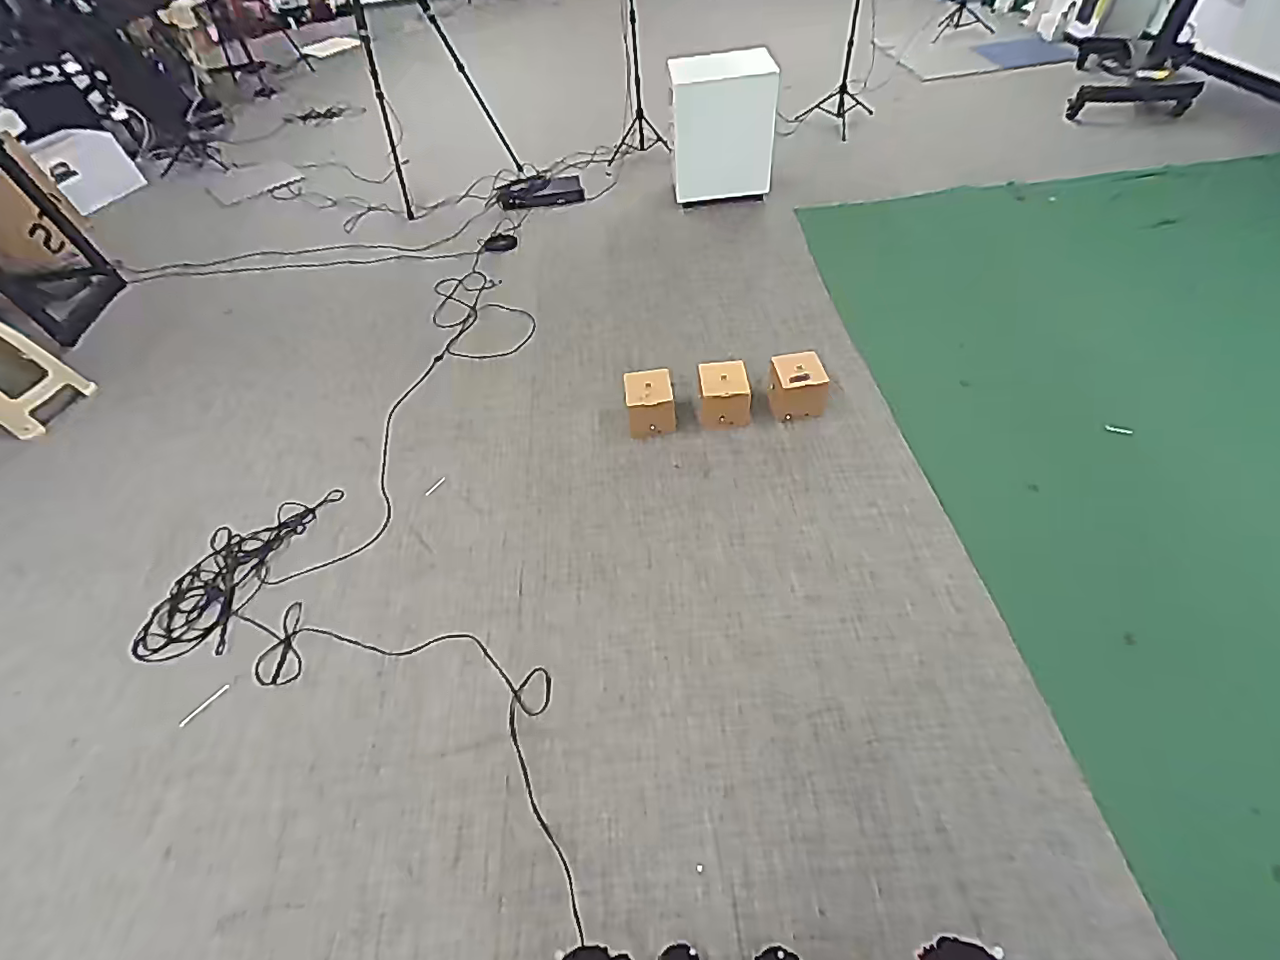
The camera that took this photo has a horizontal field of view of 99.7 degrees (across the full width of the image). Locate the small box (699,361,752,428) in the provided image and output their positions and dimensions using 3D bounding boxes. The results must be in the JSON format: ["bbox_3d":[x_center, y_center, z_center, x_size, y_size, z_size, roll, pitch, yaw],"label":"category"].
[{"bbox_3d":[0.307,-0.312,1.980,0.168,0.176,0.179,-5,52,2],"label":"small box"}]

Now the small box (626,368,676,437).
[{"bbox_3d":[0.040,-0.283,1.982,0.168,0.176,0.179,-7,52,2],"label":"small box"}]

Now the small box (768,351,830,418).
[{"bbox_3d":[0.574,-0.341,1.974,0.168,0.176,0.179,-8,51,0],"label":"small box"}]
